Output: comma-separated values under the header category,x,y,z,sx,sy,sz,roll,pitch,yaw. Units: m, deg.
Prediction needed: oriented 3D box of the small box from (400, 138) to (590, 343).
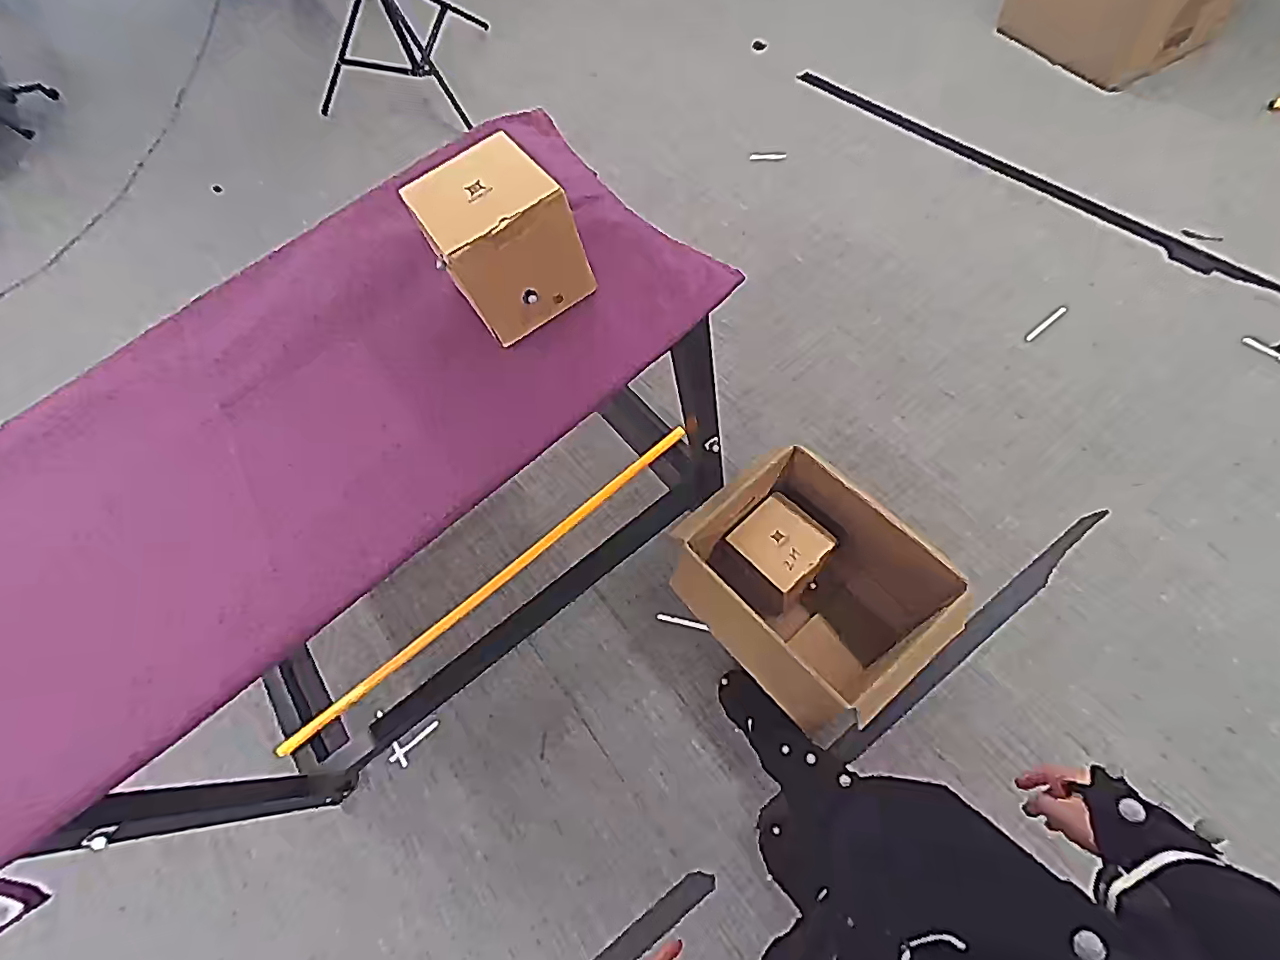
category,x,y,z,sx,sy,sz,roll,pitch,yaw
small box,-0.195,-0.329,0.762,0.168,0.176,0.179,-35,62,-6
